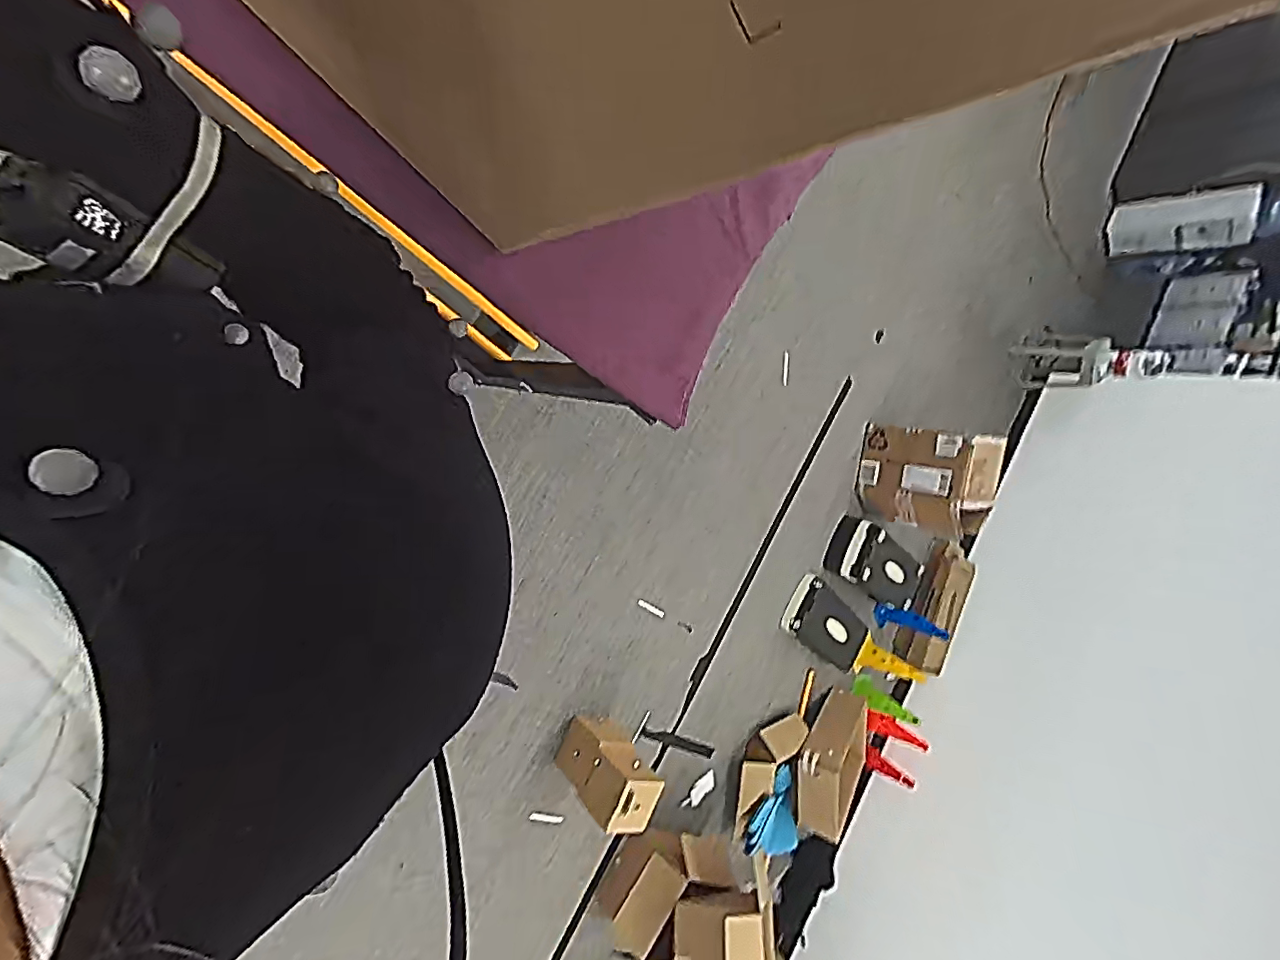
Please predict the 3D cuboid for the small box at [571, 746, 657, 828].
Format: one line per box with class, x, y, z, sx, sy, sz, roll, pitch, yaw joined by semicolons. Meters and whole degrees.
small box;-0.086;0.967;1.710;0.179;0.176;0.168;31;82;-41
